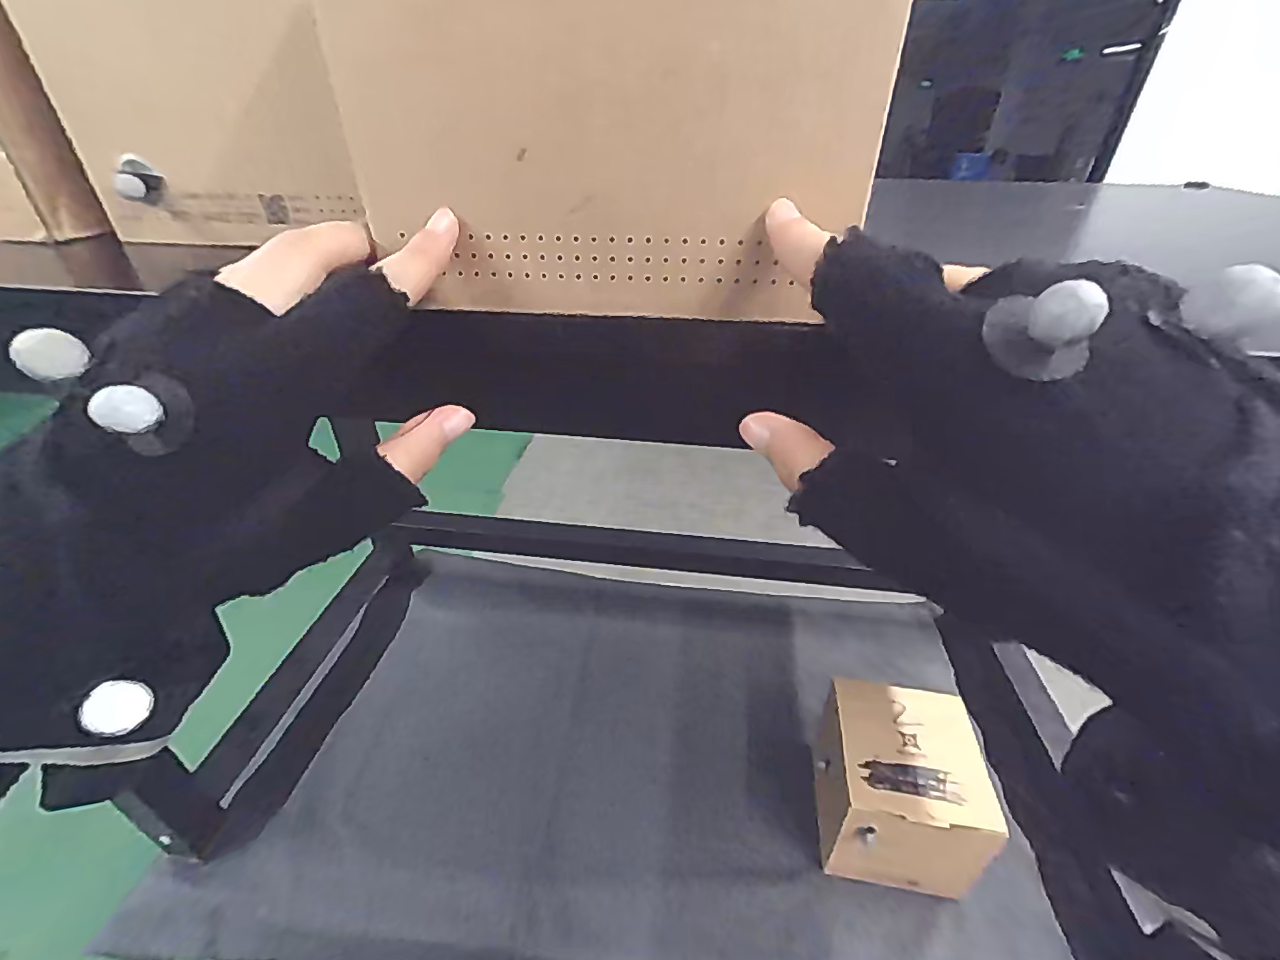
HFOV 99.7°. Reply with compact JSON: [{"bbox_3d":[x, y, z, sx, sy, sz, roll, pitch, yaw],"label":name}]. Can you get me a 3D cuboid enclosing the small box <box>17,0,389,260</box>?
[{"bbox_3d":[-0.209,-0.241,0.336,0.168,0.176,0.179,4,33,4],"label":"small box"}]
